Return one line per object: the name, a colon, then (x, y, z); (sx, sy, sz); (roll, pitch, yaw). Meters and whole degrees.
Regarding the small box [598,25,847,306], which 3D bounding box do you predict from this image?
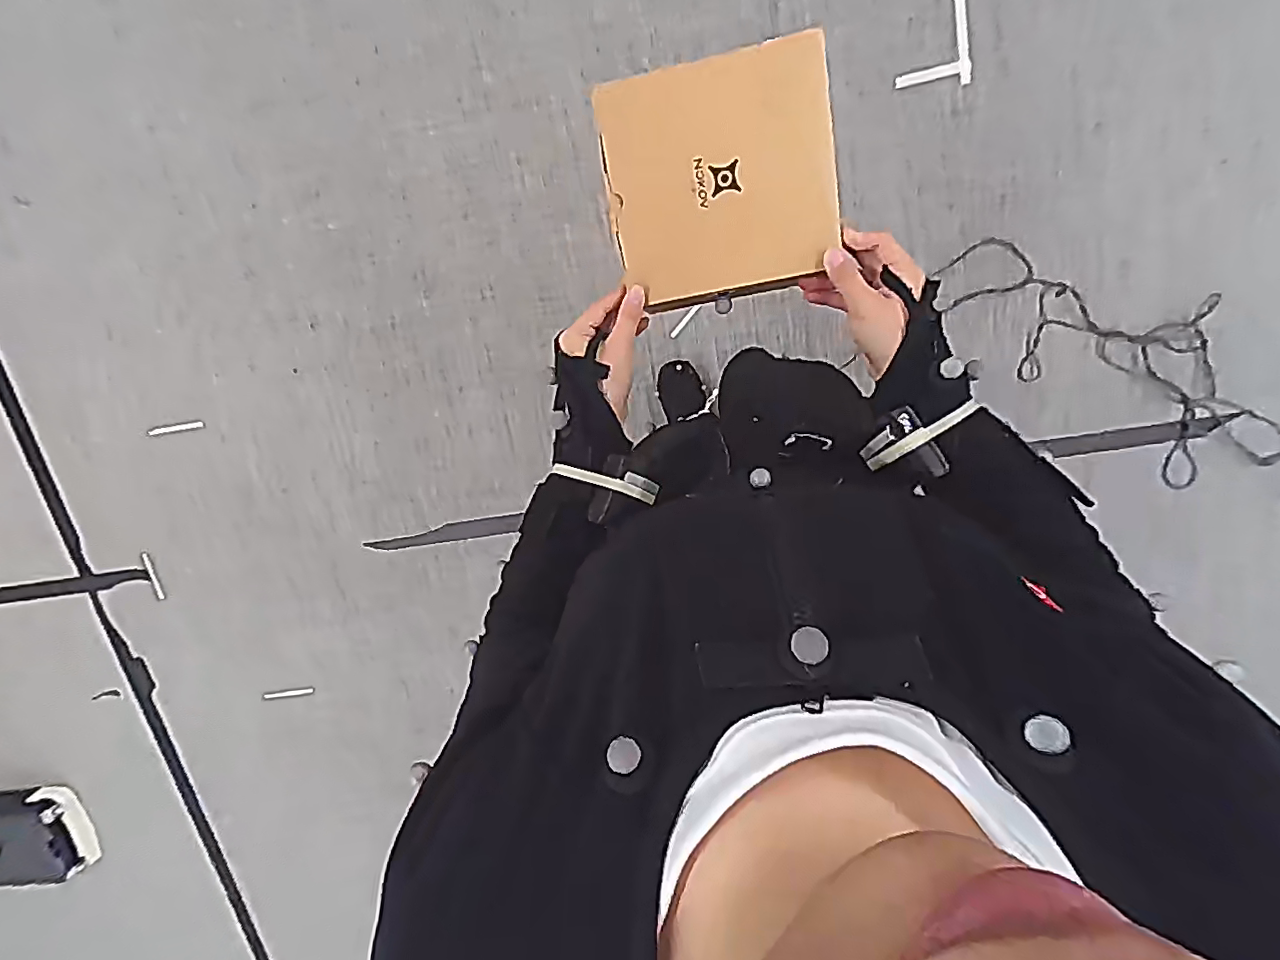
small box: (0.074, -0.258, 0.493); (0.179, 0.176, 0.168); (-8, 104, 10)
